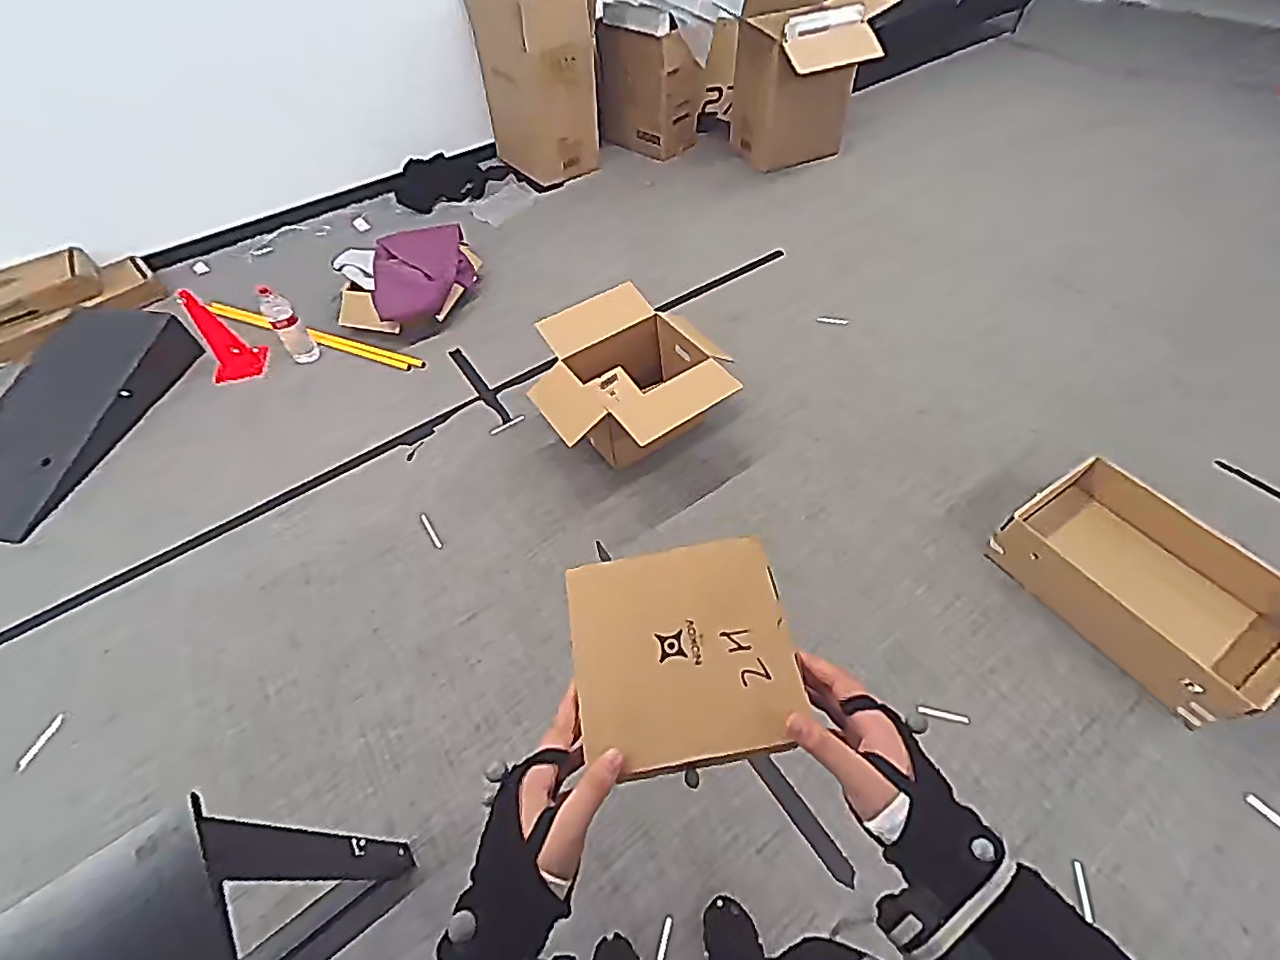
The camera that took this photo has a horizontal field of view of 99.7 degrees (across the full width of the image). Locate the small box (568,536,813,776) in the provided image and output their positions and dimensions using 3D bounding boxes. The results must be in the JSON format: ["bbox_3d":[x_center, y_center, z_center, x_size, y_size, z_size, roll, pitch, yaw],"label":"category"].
[{"bbox_3d":[0.039,0.173,0.510,0.179,0.176,0.168,-10,61,-2],"label":"small box"}]
